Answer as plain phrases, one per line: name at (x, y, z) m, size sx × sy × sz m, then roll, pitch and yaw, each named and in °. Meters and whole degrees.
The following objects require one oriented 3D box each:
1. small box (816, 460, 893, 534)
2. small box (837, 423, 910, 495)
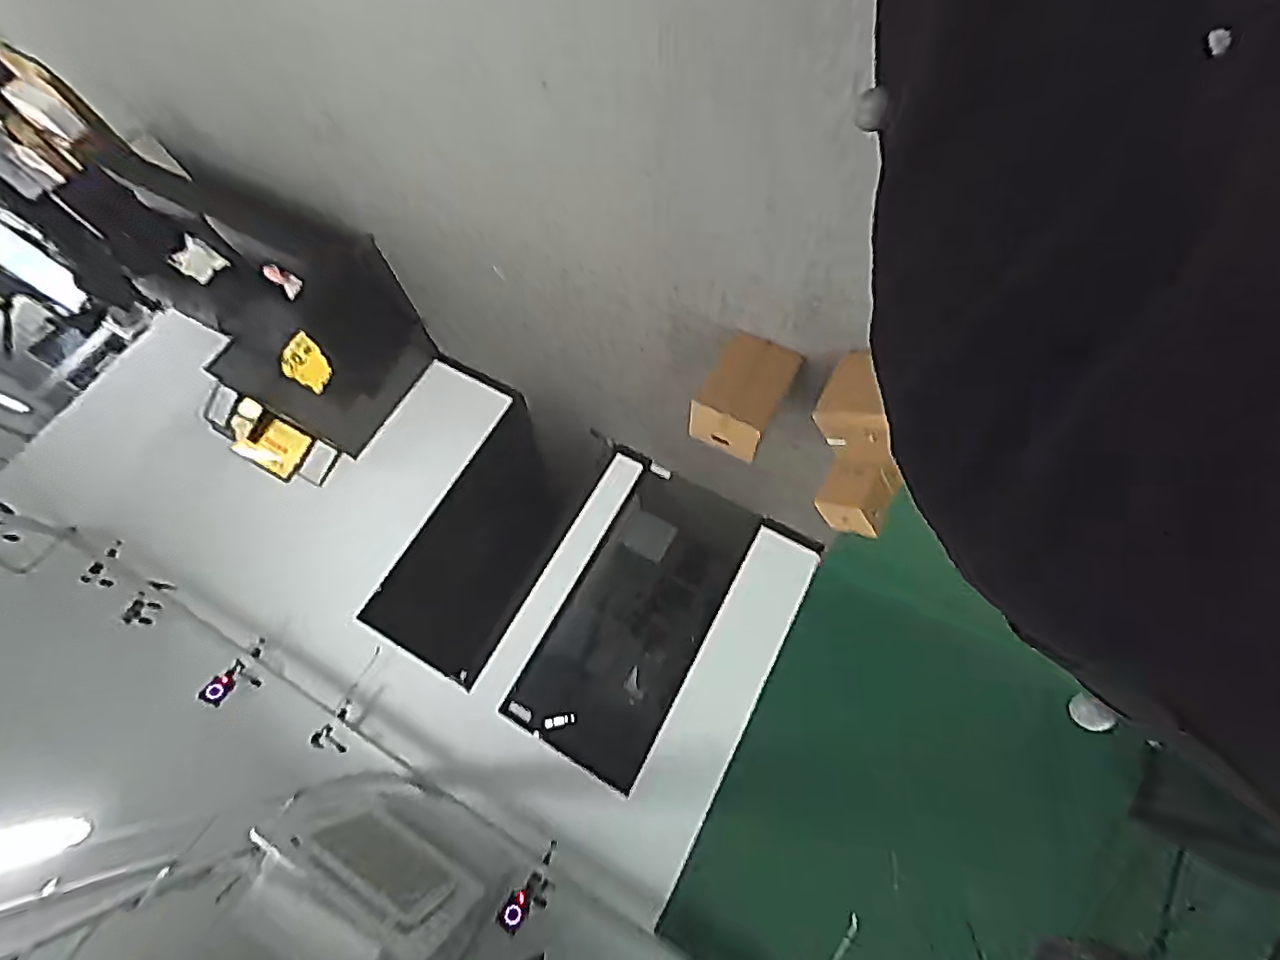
small box at (0.729, 0.055, 1.822) m, size 0.168 × 0.176 × 0.179 m, roll 9°, pitch 152°, yaw 48°
small box at (0.815, -0.074, 1.872) m, size 0.168 × 0.176 × 0.179 m, roll 12°, pitch 153°, yaw 45°
